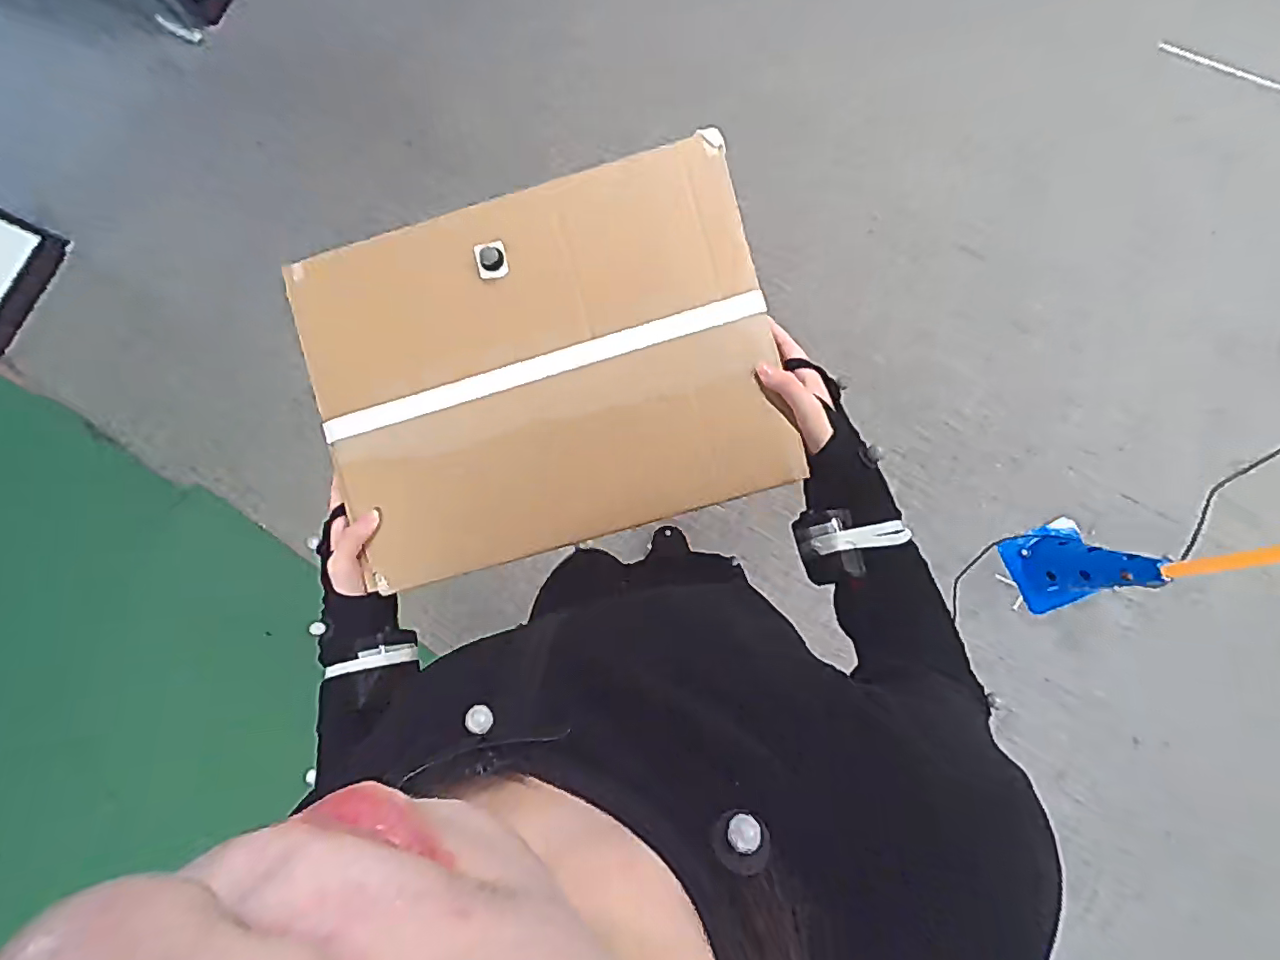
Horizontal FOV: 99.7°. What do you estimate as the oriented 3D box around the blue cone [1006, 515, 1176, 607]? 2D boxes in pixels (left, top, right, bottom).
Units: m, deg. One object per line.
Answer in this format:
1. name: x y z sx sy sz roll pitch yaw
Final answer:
1. blue cone: 1.025 0.188 1.199 0.193 0.380 0.192 -27 80 4
